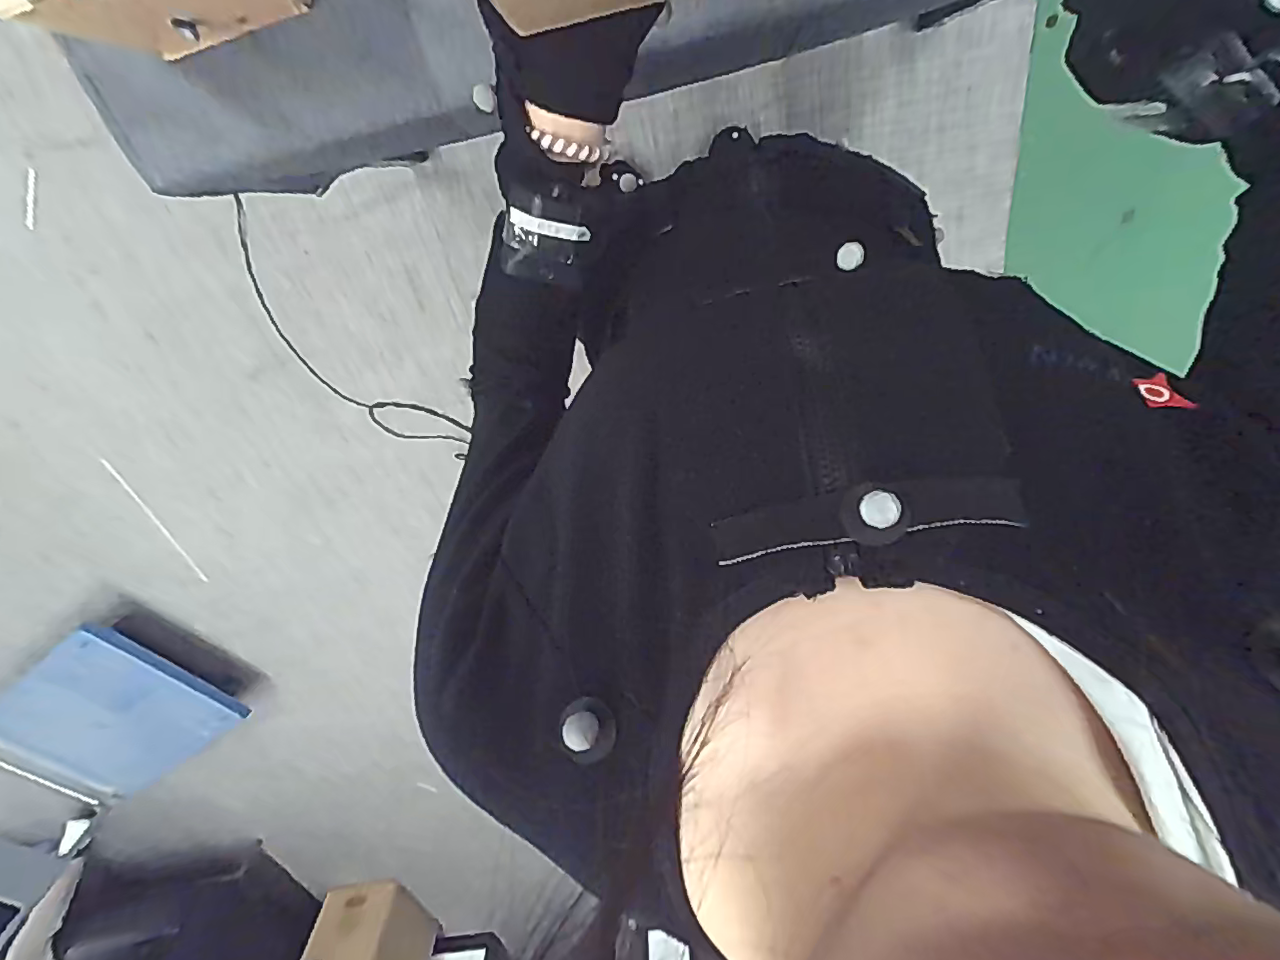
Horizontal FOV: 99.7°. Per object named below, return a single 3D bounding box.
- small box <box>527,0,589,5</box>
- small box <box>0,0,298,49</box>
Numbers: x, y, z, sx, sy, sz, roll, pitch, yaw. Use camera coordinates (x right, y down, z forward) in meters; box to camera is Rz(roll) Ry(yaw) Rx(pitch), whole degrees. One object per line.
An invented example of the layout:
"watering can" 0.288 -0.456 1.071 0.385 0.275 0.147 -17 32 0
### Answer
"small box" 0.004 -0.282 0.170 0.168 0.176 0.179 -11 124 2
"small box" -0.411 -0.469 0.409 0.168 0.176 0.179 -13 120 6
